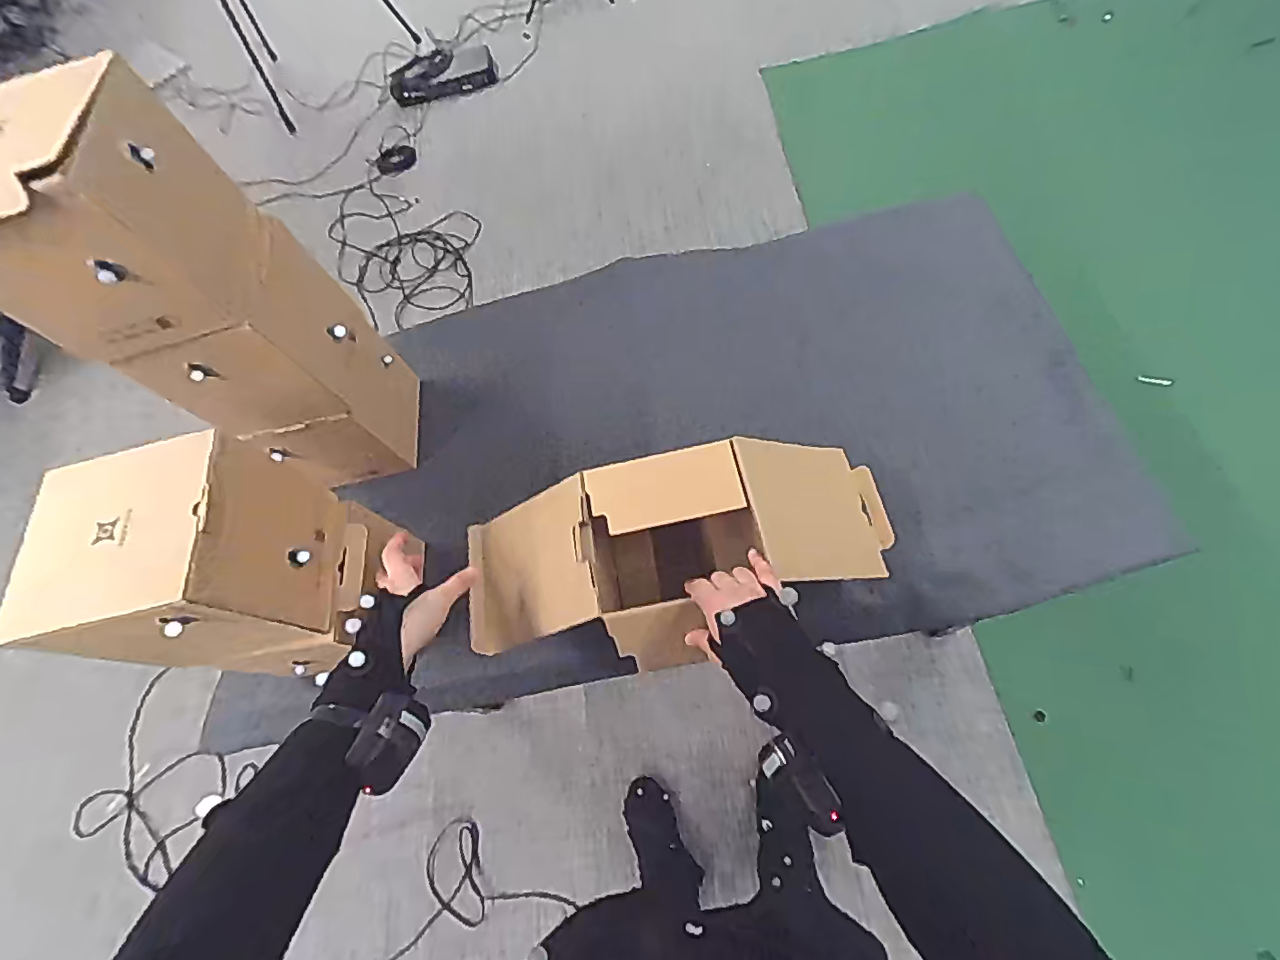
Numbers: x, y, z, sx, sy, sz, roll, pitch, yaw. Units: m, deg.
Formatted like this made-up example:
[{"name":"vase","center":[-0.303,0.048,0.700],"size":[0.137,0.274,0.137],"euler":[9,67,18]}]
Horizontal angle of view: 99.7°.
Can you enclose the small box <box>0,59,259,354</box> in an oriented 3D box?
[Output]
[{"name":"small box","center":[-0.503,-0.241,0.512],"size":[0.168,0.176,0.179],"euler":[-14,63,2]}]

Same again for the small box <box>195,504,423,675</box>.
[{"name":"small box","center":[-0.396,0.146,0.681],"size":[0.179,0.176,0.168],"euler":[-10,65,6]}]

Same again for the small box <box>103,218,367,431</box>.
[{"name":"small box","center":[-0.469,-0.176,0.657],"size":[0.179,0.176,0.168],"euler":[-11,65,5]}]

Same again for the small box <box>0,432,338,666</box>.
[{"name":"small box","center":[-0.438,0.080,0.538],"size":[0.179,0.176,0.168],"euler":[-14,64,4]}]
